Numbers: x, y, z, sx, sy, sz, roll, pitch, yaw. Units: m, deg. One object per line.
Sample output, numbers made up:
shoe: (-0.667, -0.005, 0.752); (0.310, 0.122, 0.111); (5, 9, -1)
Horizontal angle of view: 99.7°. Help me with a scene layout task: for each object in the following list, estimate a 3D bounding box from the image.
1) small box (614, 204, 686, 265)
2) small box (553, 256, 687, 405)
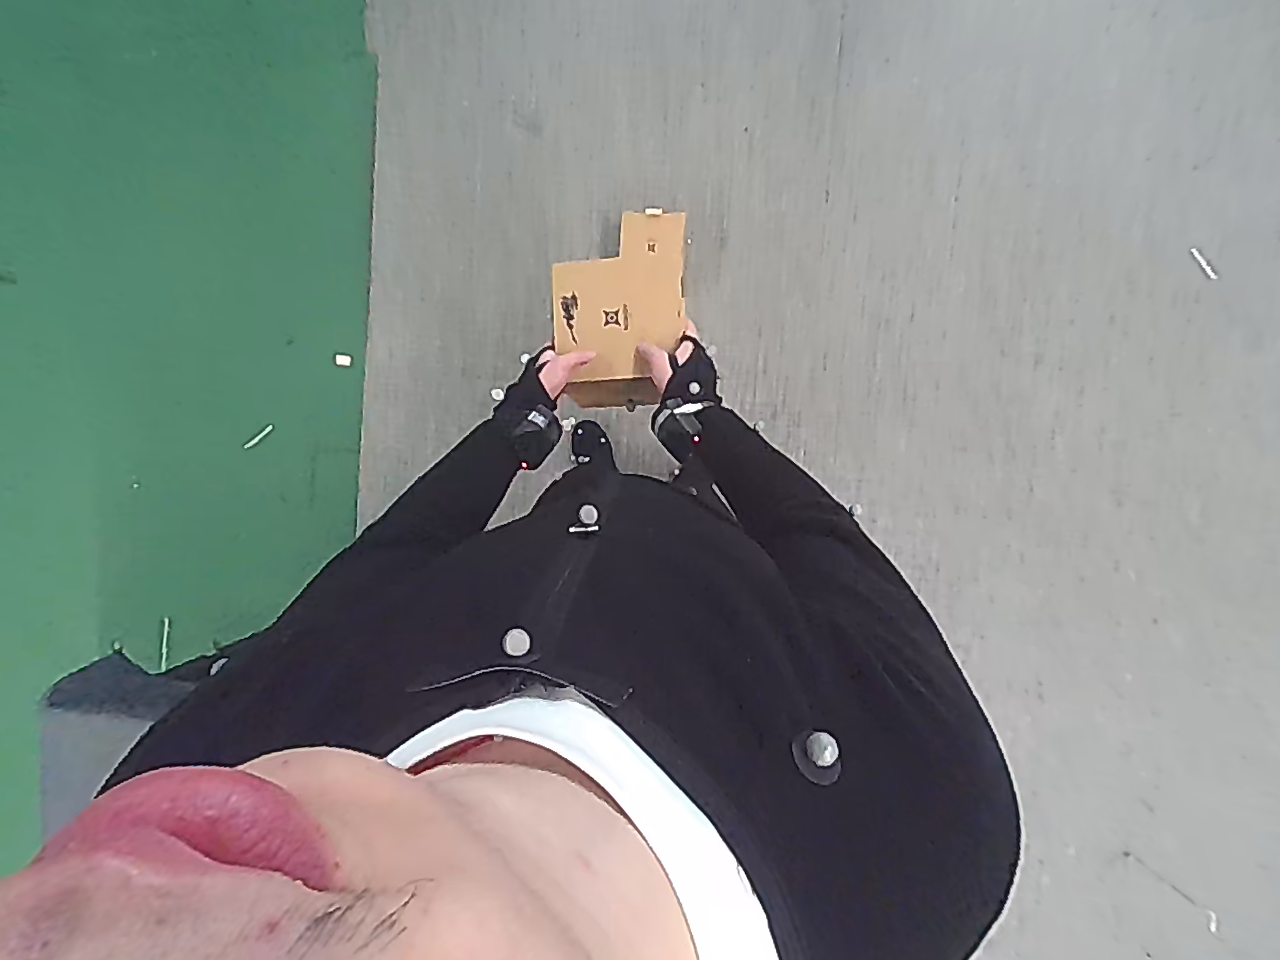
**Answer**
small box: (0.030, -0.608, 1.446); (0.168, 0.176, 0.179); (7, 94, 7)
small box: (-0.024, -0.209, 0.794); (0.179, 0.176, 0.168); (-2, 86, 4)
